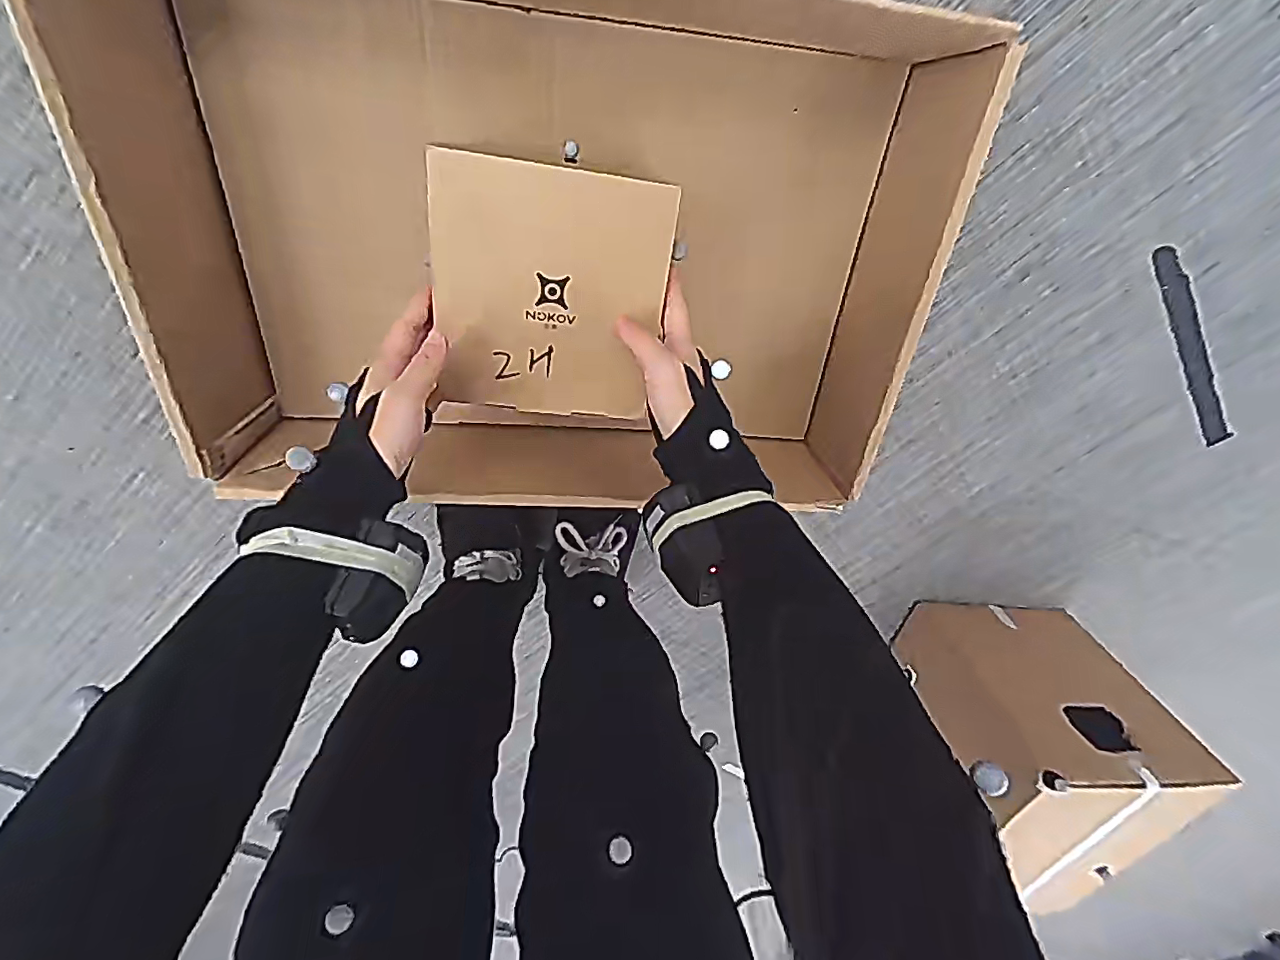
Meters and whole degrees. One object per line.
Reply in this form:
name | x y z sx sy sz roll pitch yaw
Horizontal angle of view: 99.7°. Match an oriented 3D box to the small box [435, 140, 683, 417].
small box | -0.071 -0.174 0.461 0.168 0.176 0.179 5 121 -9
